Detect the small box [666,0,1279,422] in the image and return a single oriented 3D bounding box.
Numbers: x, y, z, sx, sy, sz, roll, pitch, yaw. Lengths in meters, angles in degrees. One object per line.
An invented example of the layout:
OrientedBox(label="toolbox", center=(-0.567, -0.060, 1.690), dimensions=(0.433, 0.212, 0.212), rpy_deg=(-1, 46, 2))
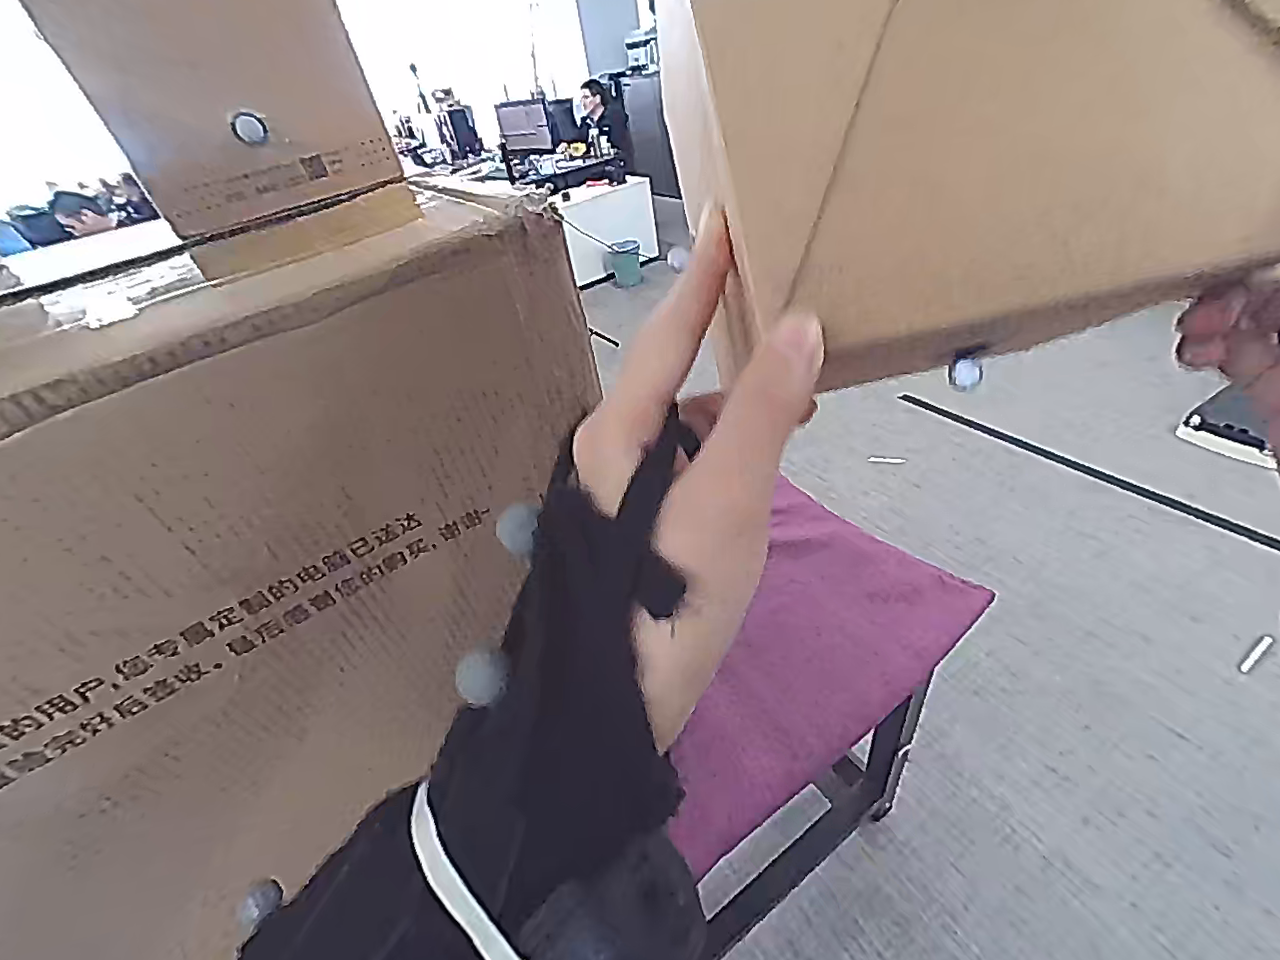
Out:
OrientedBox(label="small box", center=(0.105, -0.131, 0.218), dimensions=(0.168, 0.179, 0.176), rpy_deg=(-12, 1, 4))

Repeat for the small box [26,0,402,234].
OrientedBox(label="small box", center=(-0.310, -0.303, 0.412), dimensions=(0.168, 0.176, 0.179), rpy_deg=(-29, 42, -19))
